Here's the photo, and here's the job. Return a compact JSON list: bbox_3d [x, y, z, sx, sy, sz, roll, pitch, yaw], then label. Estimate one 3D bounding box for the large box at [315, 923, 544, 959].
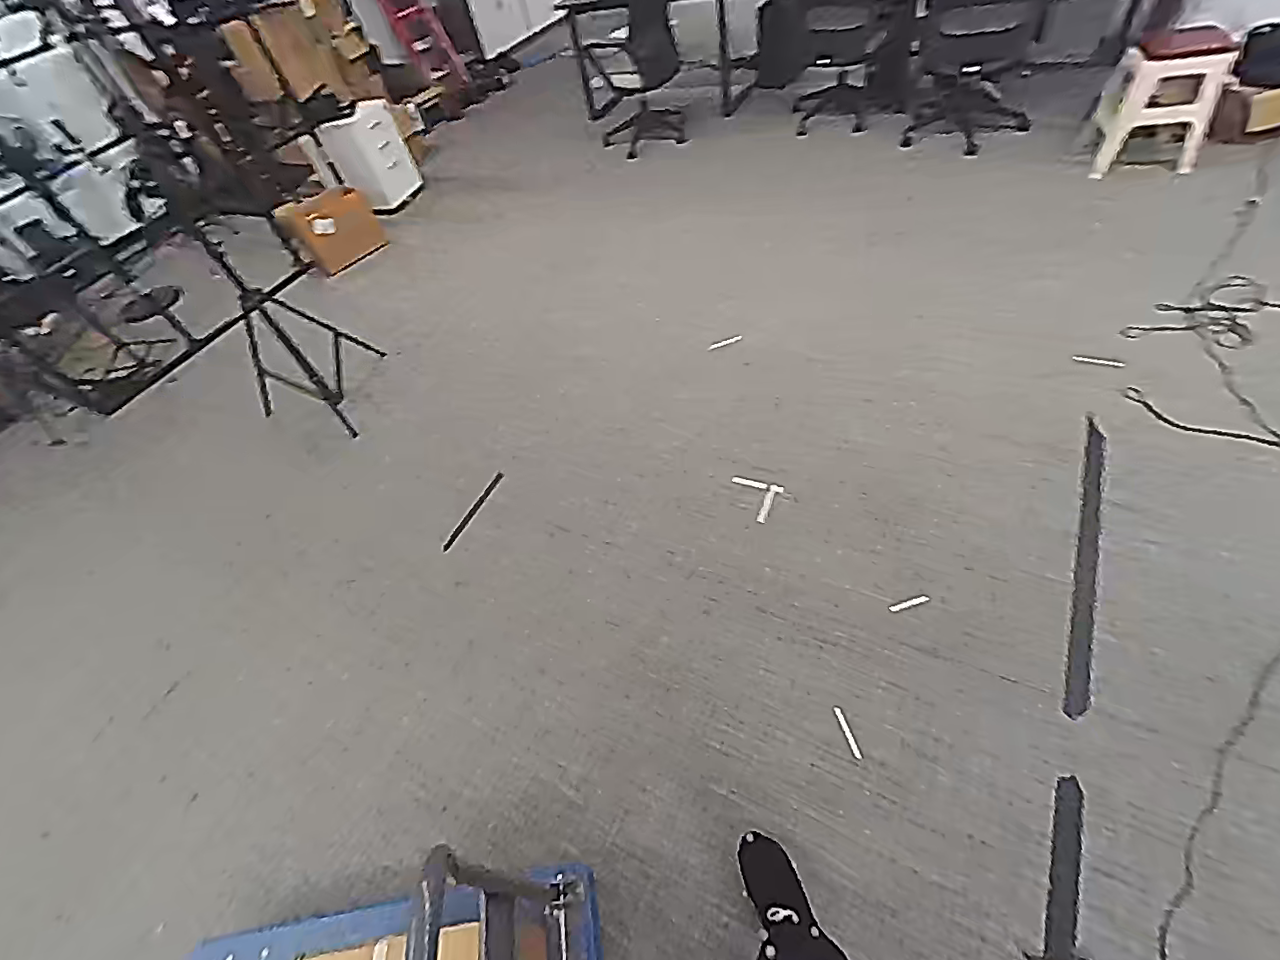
[{"bbox_3d":[-0.330,0.954,0.809,0.320,0.320,0.408,-13,48,2],"label":"large box"}]
